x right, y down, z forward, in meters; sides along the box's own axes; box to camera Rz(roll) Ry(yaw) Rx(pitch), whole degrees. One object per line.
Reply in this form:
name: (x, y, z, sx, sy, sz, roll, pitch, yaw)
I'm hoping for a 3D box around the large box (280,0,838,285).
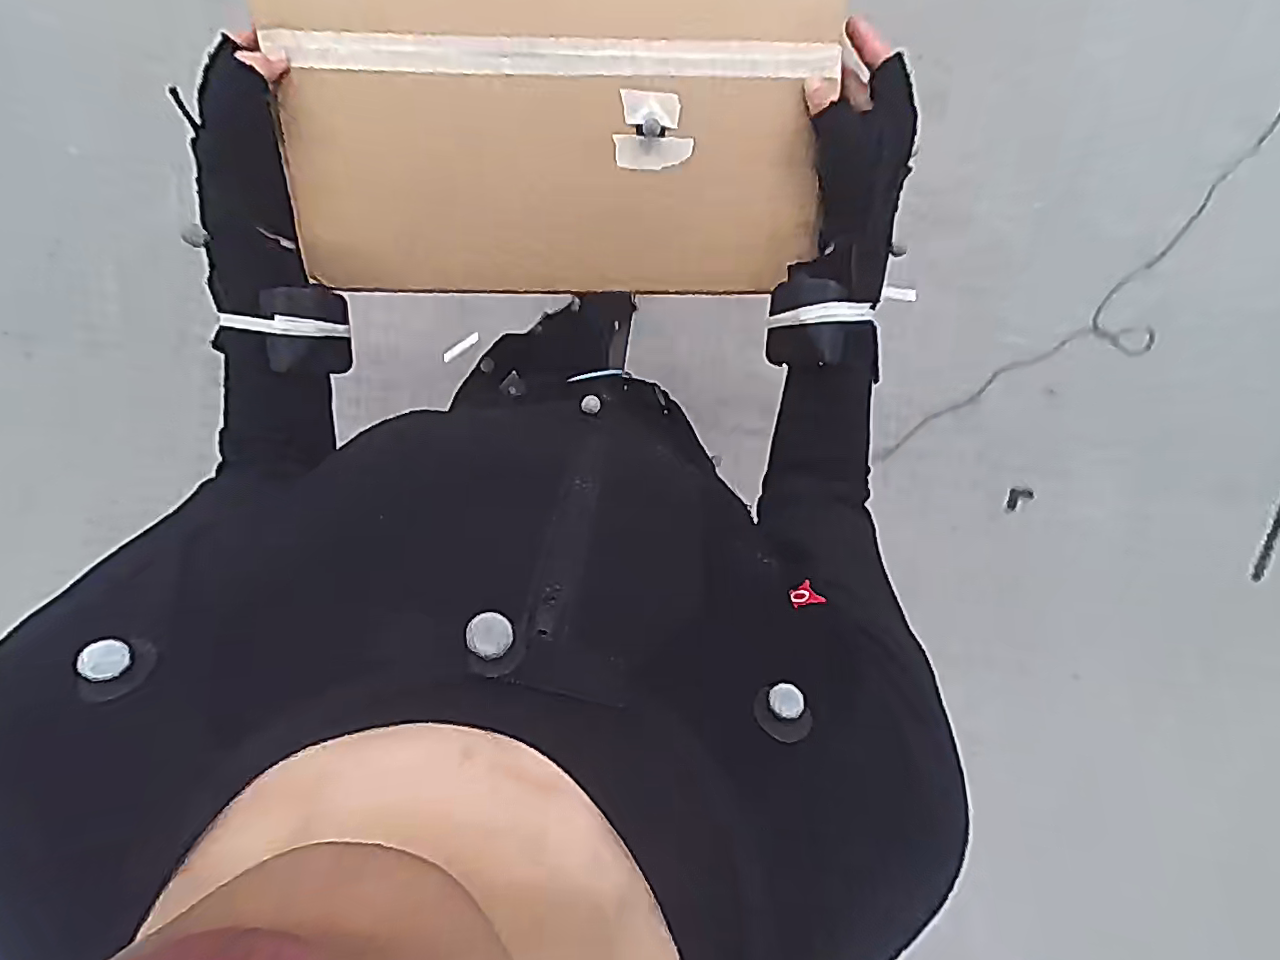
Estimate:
large box: (-0.064, -0.364, 0.535, 0.408, 0.320, 0.320, -1, 112, -4)
